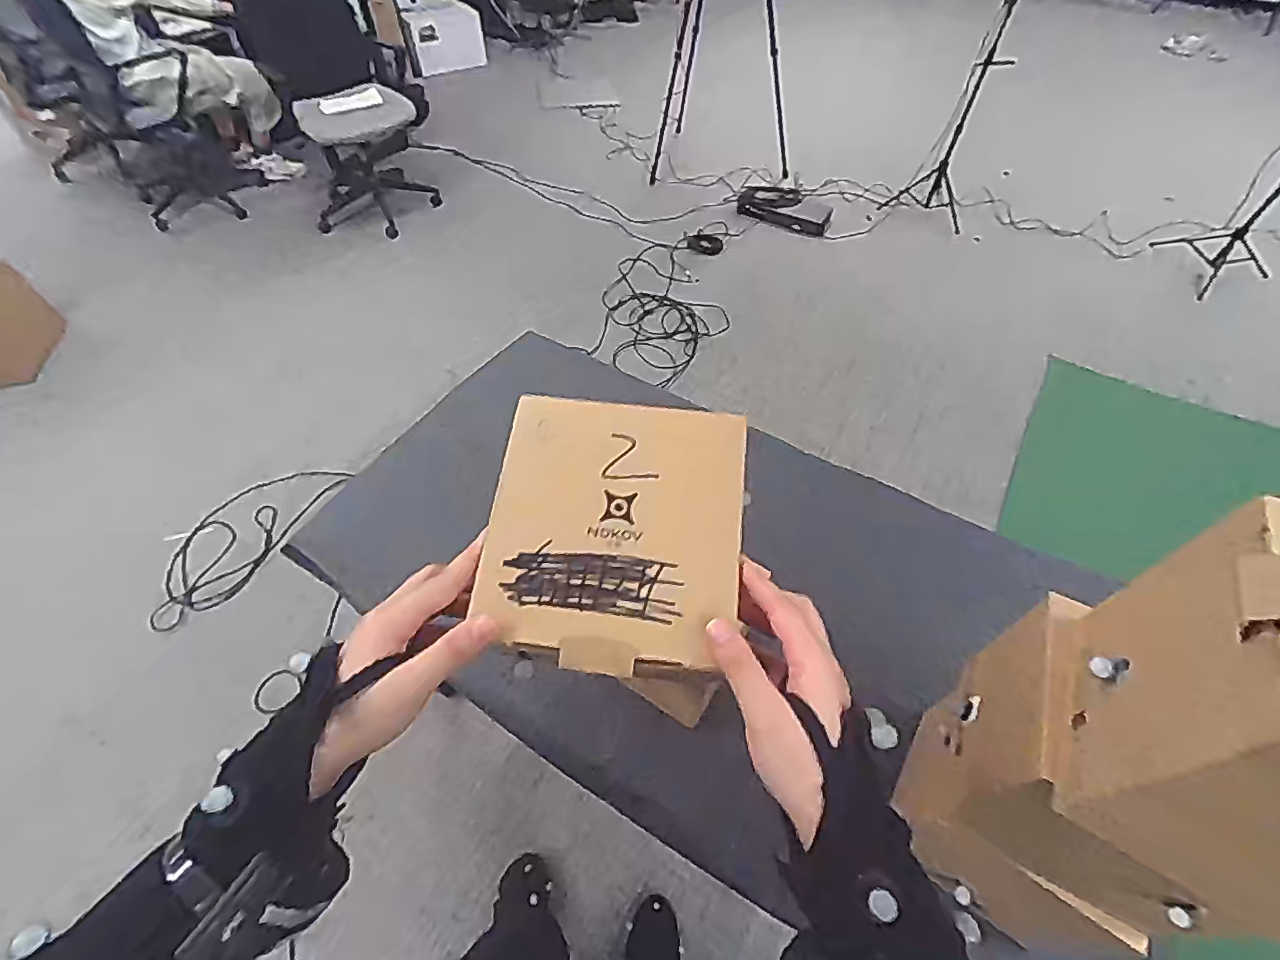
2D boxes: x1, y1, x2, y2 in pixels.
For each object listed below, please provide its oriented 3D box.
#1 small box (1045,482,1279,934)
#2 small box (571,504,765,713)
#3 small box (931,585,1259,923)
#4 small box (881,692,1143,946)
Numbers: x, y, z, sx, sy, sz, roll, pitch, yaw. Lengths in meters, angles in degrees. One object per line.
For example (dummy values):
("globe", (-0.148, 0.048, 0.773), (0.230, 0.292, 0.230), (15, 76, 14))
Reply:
("small box", (0.378, 0.139, 0.301), (0.179, 0.176, 0.168), (28, 54, 20))
("small box", (0.034, 0.168, 0.694), (0.179, 0.176, 0.168), (27, 56, 20))
("small box", (0.376, 0.224, 0.445), (0.179, 0.176, 0.168), (23, 53, 18))
("small box", (0.381, 0.333, 0.566), (0.168, 0.176, 0.179), (30, 56, 22))
